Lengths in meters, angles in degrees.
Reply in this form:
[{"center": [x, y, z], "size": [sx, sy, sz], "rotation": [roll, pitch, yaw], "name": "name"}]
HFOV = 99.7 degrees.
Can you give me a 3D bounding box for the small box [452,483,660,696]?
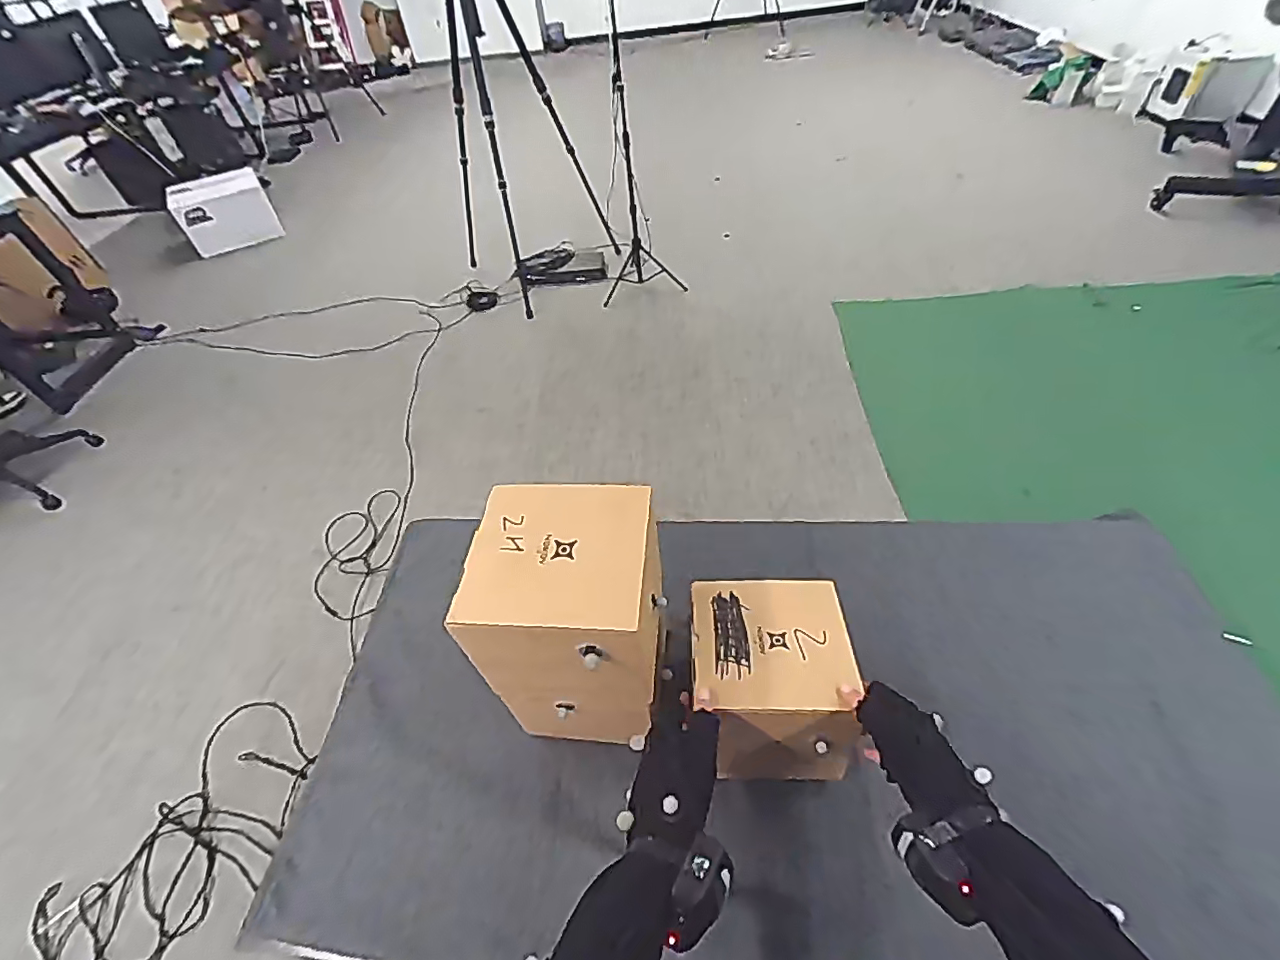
[{"center": [-0.071, 0.121, 0.587], "size": [0.179, 0.176, 0.168], "rotation": [1, 47, 7], "name": "small box"}]
